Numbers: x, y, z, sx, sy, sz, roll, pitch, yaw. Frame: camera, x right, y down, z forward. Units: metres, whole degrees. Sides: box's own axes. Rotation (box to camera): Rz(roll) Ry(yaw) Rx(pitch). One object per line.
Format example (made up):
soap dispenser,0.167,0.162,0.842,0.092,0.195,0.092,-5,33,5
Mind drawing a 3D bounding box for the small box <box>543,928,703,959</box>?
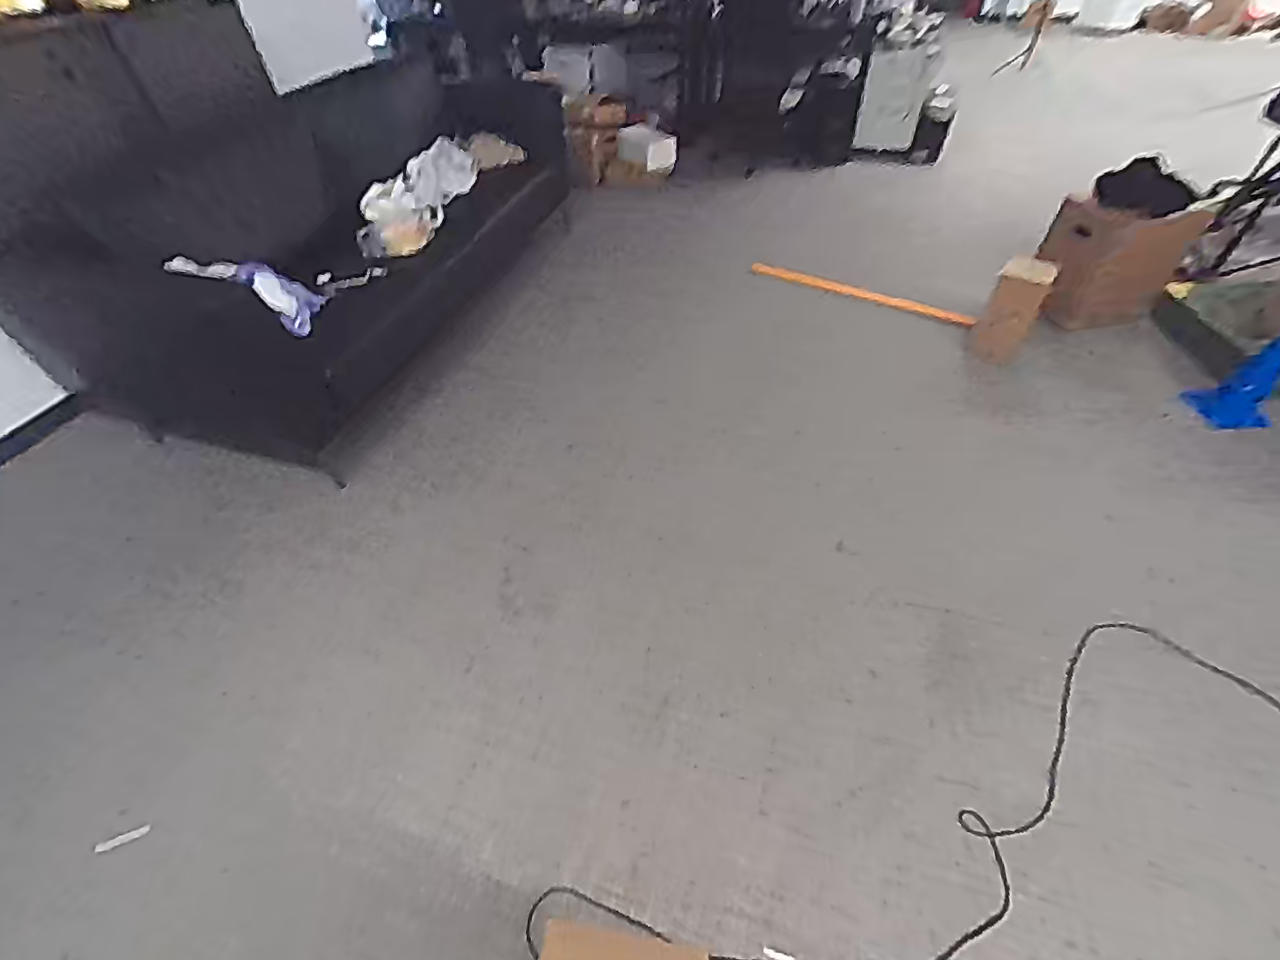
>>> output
small box,-0.020,0.543,0.476,0.179,0.176,0.168,12,76,0
